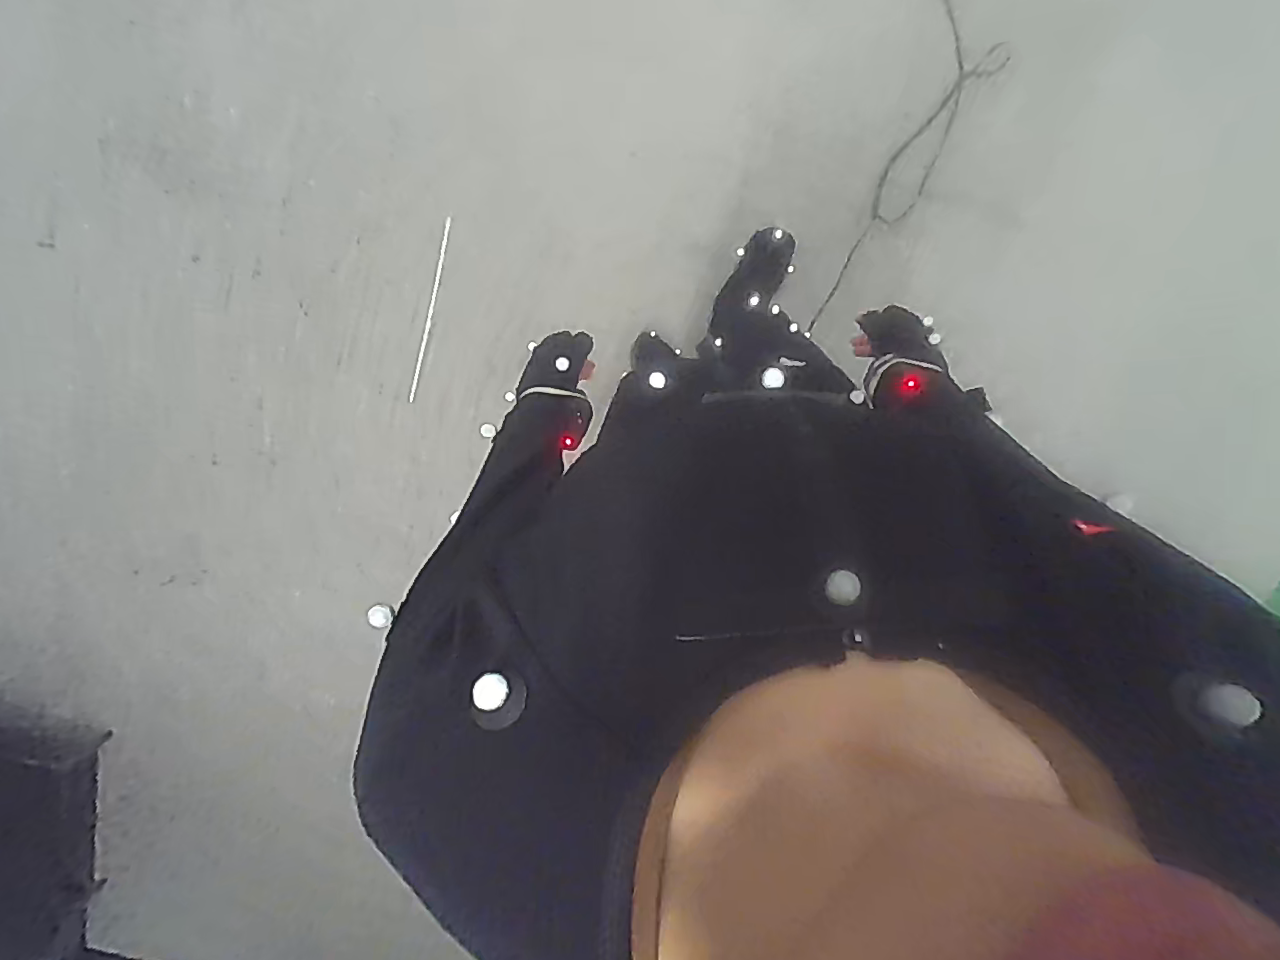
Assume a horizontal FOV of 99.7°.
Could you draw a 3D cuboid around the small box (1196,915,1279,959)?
[{"bbox_3d":[1.136,0.906,0.928,0.168,0.176,0.179,19,109,-4],"label":"small box"}]
